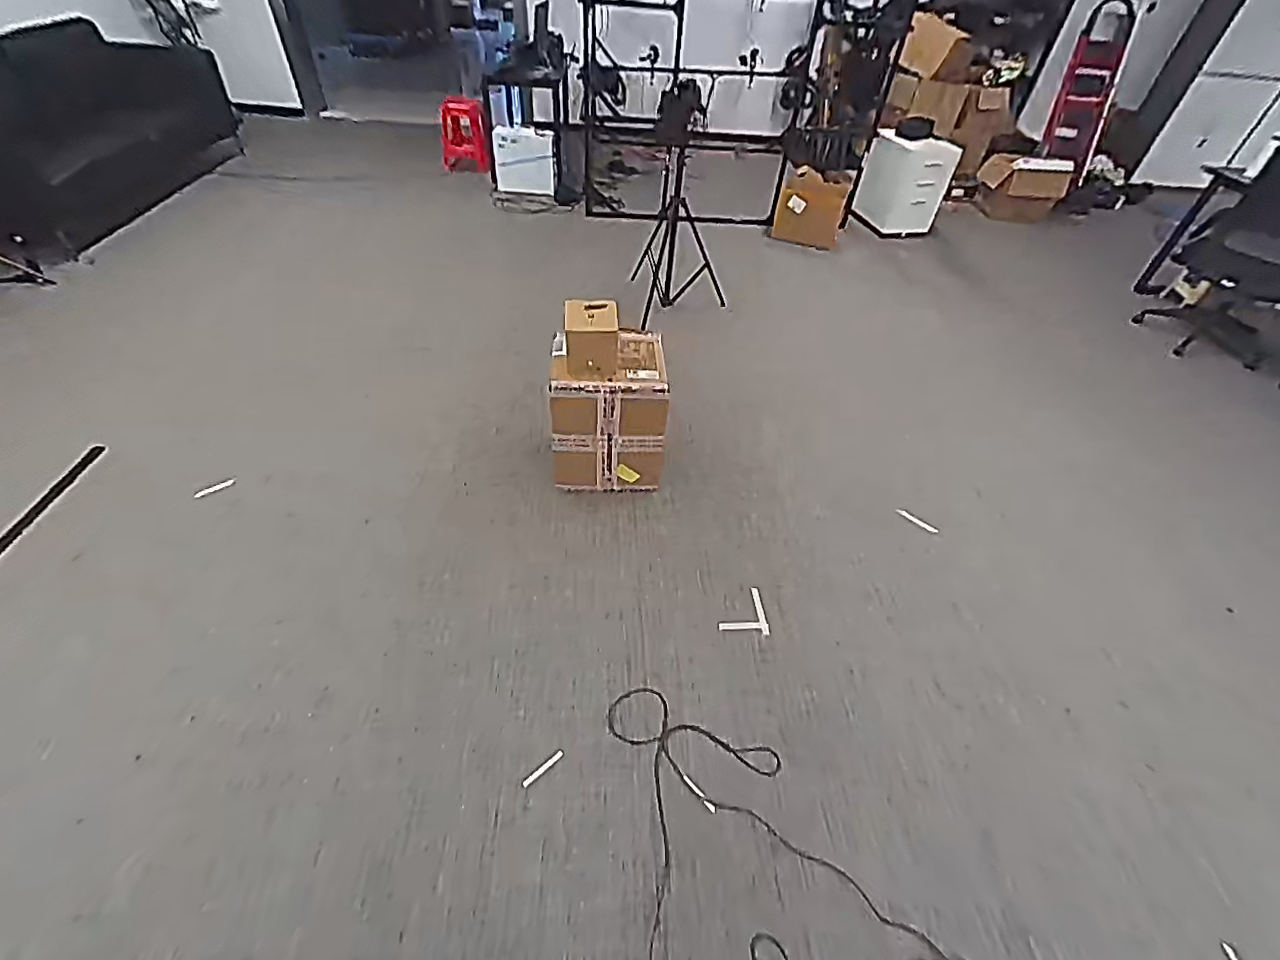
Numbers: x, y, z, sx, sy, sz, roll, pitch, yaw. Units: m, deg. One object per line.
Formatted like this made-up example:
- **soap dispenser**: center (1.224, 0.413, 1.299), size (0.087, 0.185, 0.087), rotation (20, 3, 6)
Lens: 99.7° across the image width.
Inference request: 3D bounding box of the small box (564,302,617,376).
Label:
- **small box**: center (-0.161, -0.462, 1.770), size (0.168, 0.176, 0.179), rotation (-2, 49, -5)
